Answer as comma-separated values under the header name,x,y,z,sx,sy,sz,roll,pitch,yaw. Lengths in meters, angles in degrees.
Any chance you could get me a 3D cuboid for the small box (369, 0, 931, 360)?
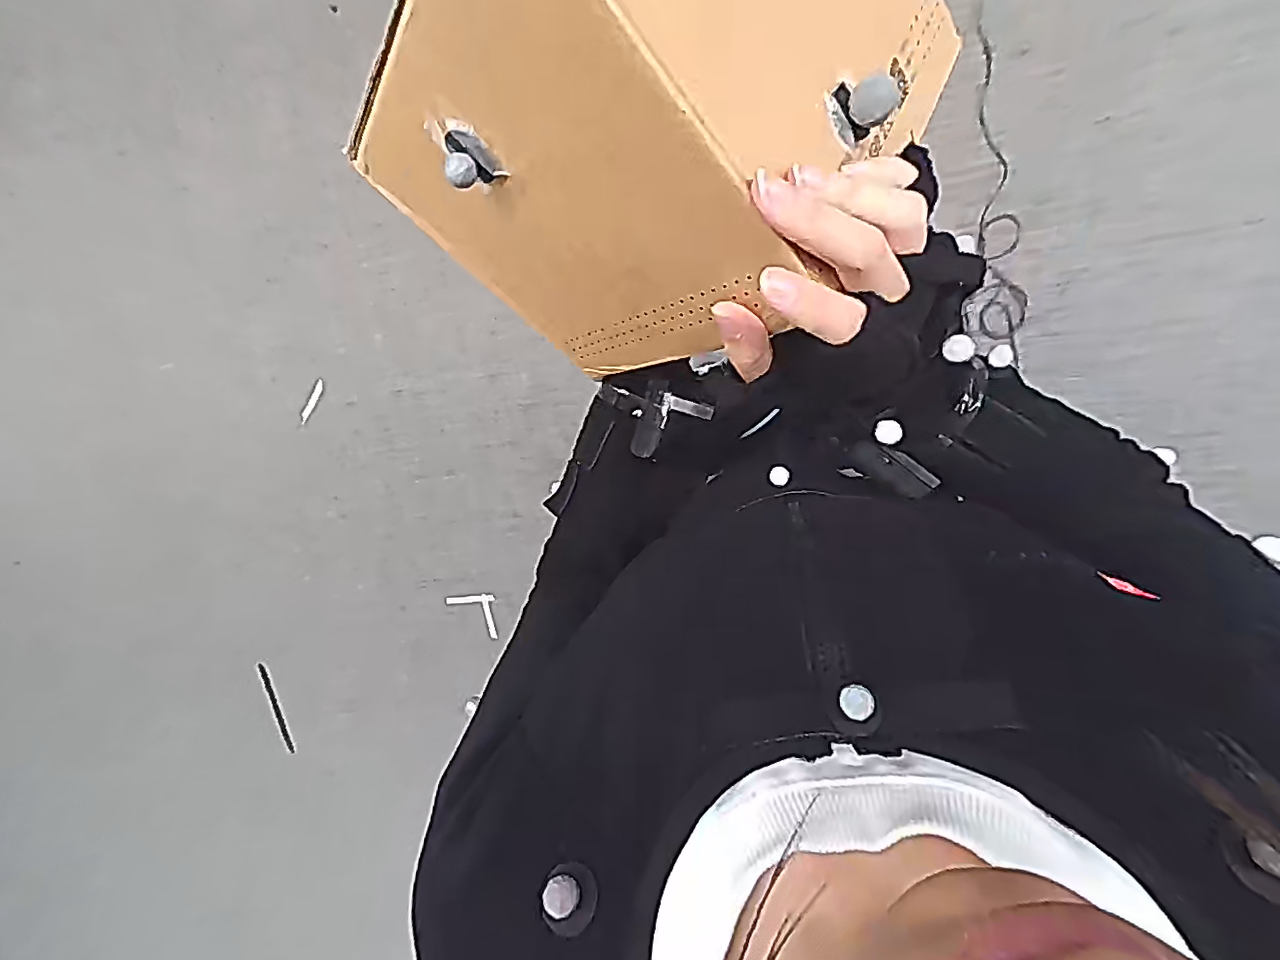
name,x,y,z,sx,sy,sz,roll,pitch,yaw
small box,0.004,-0.178,0.267,0.176,0.179,0.168,37,71,-31
